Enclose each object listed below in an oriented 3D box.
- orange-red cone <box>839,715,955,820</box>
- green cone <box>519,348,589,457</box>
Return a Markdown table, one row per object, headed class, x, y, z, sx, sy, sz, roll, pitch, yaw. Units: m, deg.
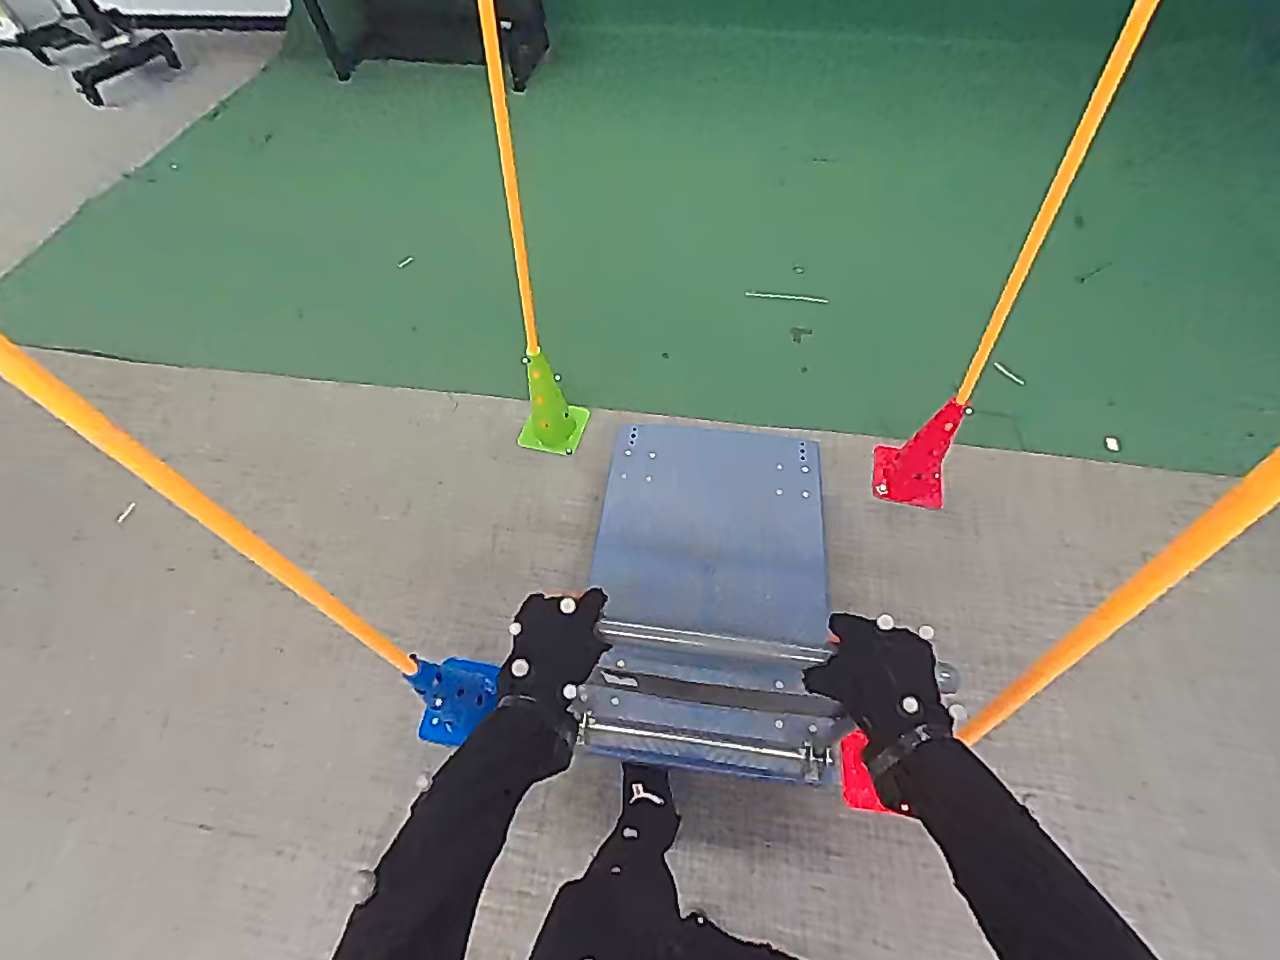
| class | x | y | z | sx | sy | sz | roll | pitch | yaw |
| --- | --- | --- | --- | --- | --- | --- | --- | --- | --- |
| orange-red cone | 0.556 | 0.571 | 1.117 | 0.199 | 0.360 | 0.198 | 6 | 57 | 8 |
| green cone | -0.296 | -0.264 | 1.682 | 0.202 | 0.368 | 0.200 | 10 | 58 | 10 |
